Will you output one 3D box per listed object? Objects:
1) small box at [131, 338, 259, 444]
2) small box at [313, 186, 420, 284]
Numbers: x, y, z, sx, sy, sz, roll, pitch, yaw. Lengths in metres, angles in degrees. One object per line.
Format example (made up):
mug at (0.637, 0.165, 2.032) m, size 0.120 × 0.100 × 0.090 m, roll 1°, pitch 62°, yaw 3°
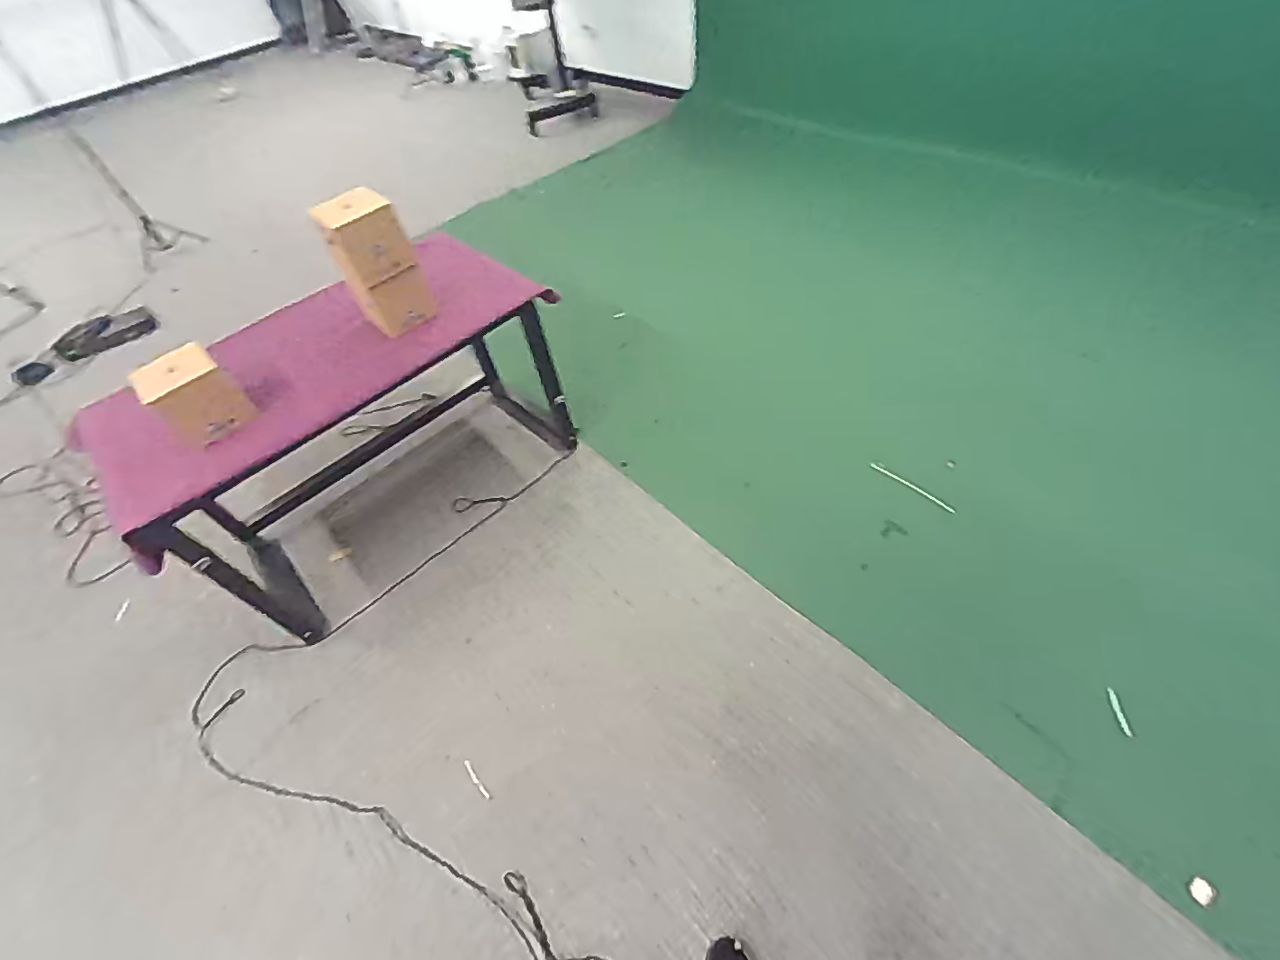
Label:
small box at (-1.115, -0.222, 1.363) m, size 0.168 × 0.176 × 0.179 m, roll -39°, pitch 57°, yaw -22°
small box at (-0.721, -0.648, 1.441) m, size 0.168 × 0.176 × 0.179 m, roll -38°, pitch 56°, yaw -22°
